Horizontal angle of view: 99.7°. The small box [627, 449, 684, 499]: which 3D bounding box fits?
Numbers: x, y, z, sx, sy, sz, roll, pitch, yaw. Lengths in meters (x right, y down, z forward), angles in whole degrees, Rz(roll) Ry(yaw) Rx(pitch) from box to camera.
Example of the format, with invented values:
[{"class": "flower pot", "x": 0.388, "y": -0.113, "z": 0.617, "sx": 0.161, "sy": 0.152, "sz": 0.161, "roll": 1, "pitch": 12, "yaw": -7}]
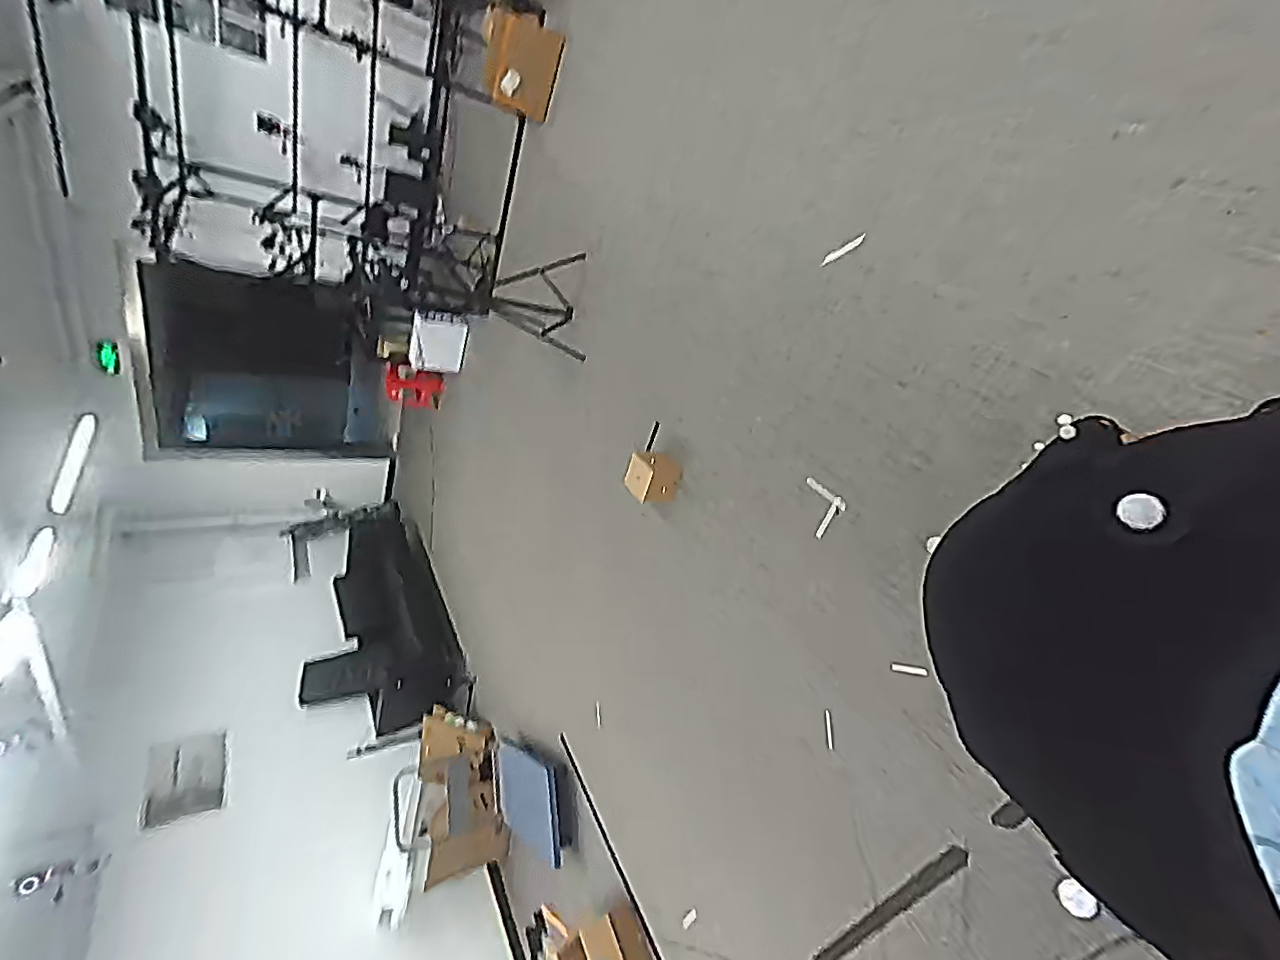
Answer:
[{"class": "small box", "x": 0.073, "y": -0.030, "z": 2.450, "sx": 0.179, "sy": 0.176, "sz": 0.168, "roll": 48, "pitch": 128, "yaw": 43}]
